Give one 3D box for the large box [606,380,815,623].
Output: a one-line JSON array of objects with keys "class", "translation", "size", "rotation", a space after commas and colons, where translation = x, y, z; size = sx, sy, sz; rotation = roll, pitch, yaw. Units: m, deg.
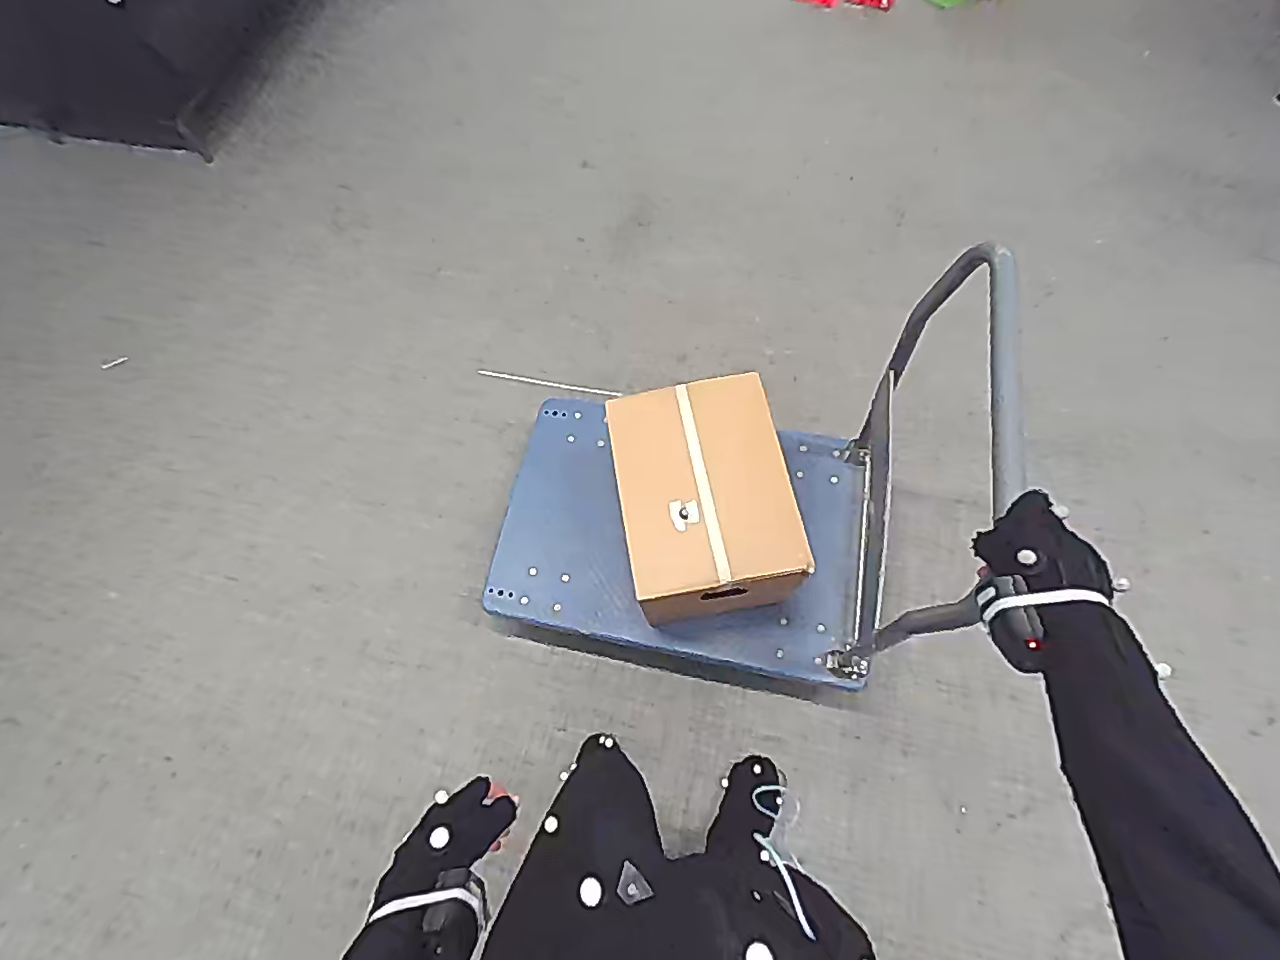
[{"class": "large box", "translation": [0.129, 0.059, 1.148], "size": [0.320, 0.320, 0.408], "rotation": [-12, 68, 1]}]
